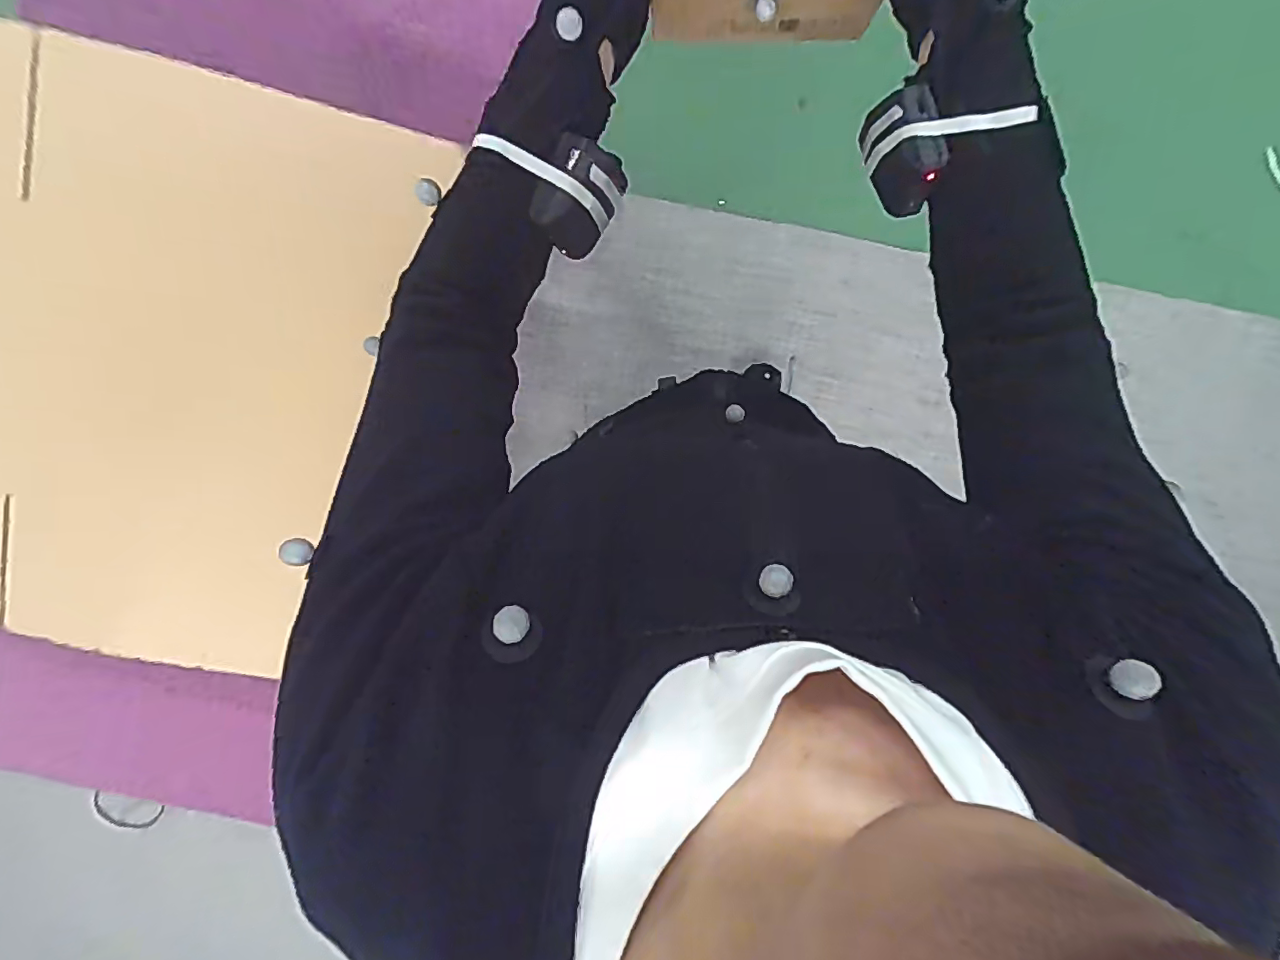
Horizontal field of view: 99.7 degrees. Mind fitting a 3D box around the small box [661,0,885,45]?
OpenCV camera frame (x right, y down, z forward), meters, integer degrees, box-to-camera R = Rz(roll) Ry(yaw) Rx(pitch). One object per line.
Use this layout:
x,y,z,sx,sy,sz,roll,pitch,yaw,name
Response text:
0.097,-0.419,0.334,0.168,0.176,0.179,3,102,3,small box
